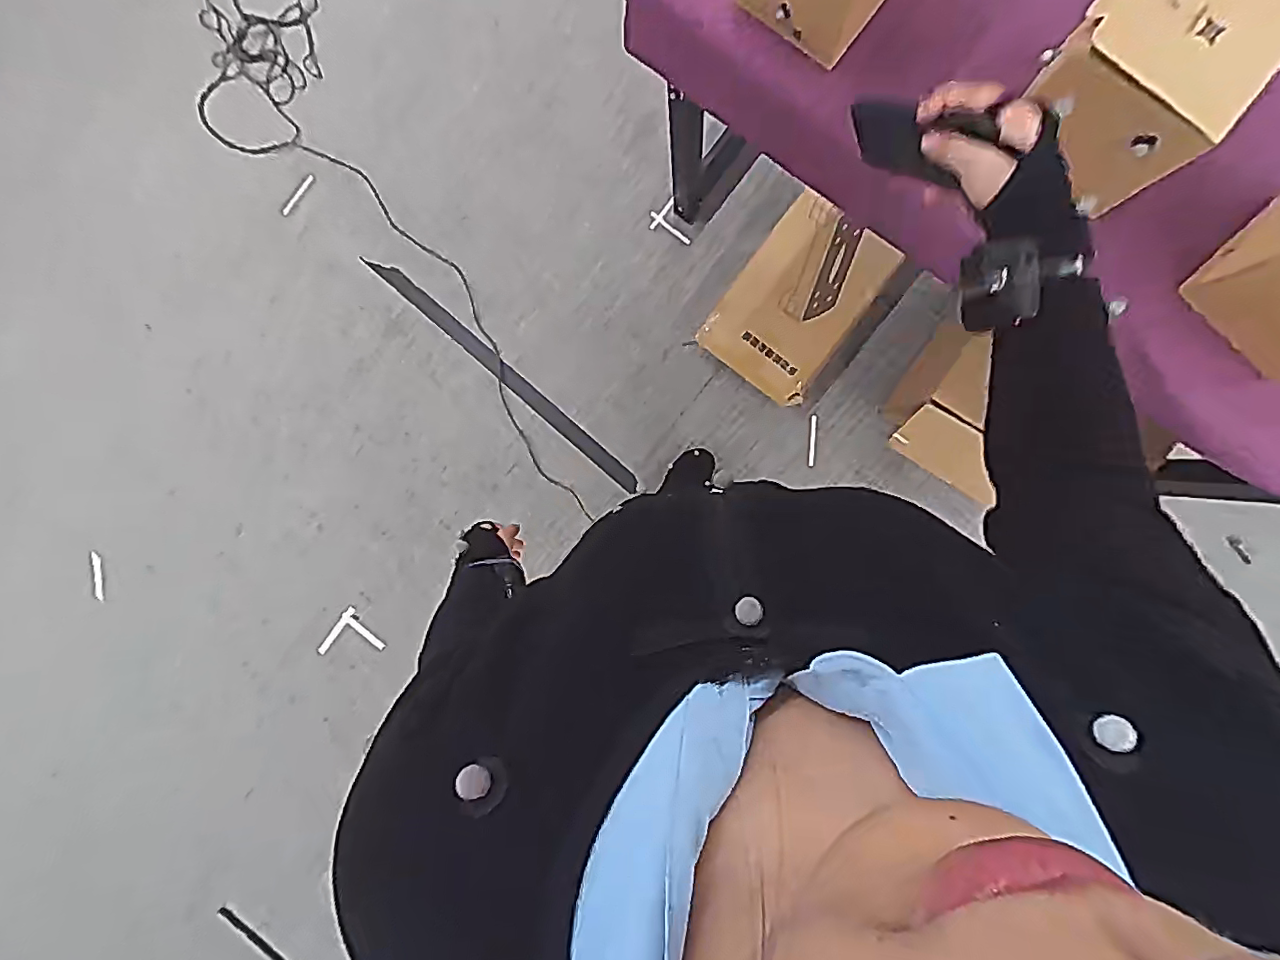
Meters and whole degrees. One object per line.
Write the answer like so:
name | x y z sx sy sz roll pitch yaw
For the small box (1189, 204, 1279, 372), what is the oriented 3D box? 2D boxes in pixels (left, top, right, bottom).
small box | 0.808 -0.242 0.611 0.179 0.176 0.168 45 95 2

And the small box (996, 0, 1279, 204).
small box | 0.573 -0.456 0.623 0.179 0.176 0.168 38 92 3
